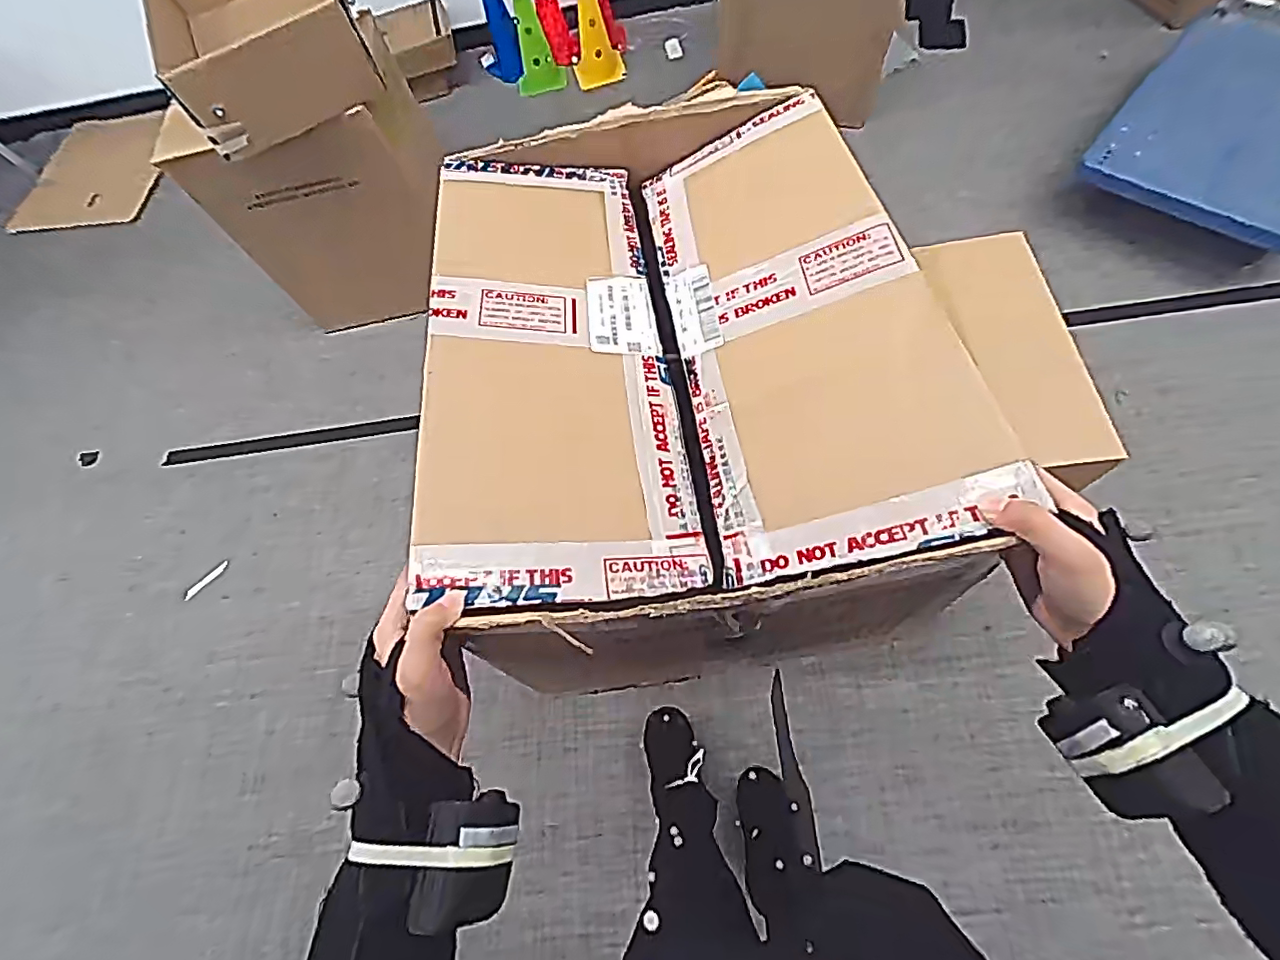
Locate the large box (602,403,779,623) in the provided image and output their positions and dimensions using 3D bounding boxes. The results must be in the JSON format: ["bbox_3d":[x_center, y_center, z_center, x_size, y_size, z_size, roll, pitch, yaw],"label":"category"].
[{"bbox_3d":[0.106,0.088,1.243,0.320,0.320,0.408,-8,66,4],"label":"large box"}]
